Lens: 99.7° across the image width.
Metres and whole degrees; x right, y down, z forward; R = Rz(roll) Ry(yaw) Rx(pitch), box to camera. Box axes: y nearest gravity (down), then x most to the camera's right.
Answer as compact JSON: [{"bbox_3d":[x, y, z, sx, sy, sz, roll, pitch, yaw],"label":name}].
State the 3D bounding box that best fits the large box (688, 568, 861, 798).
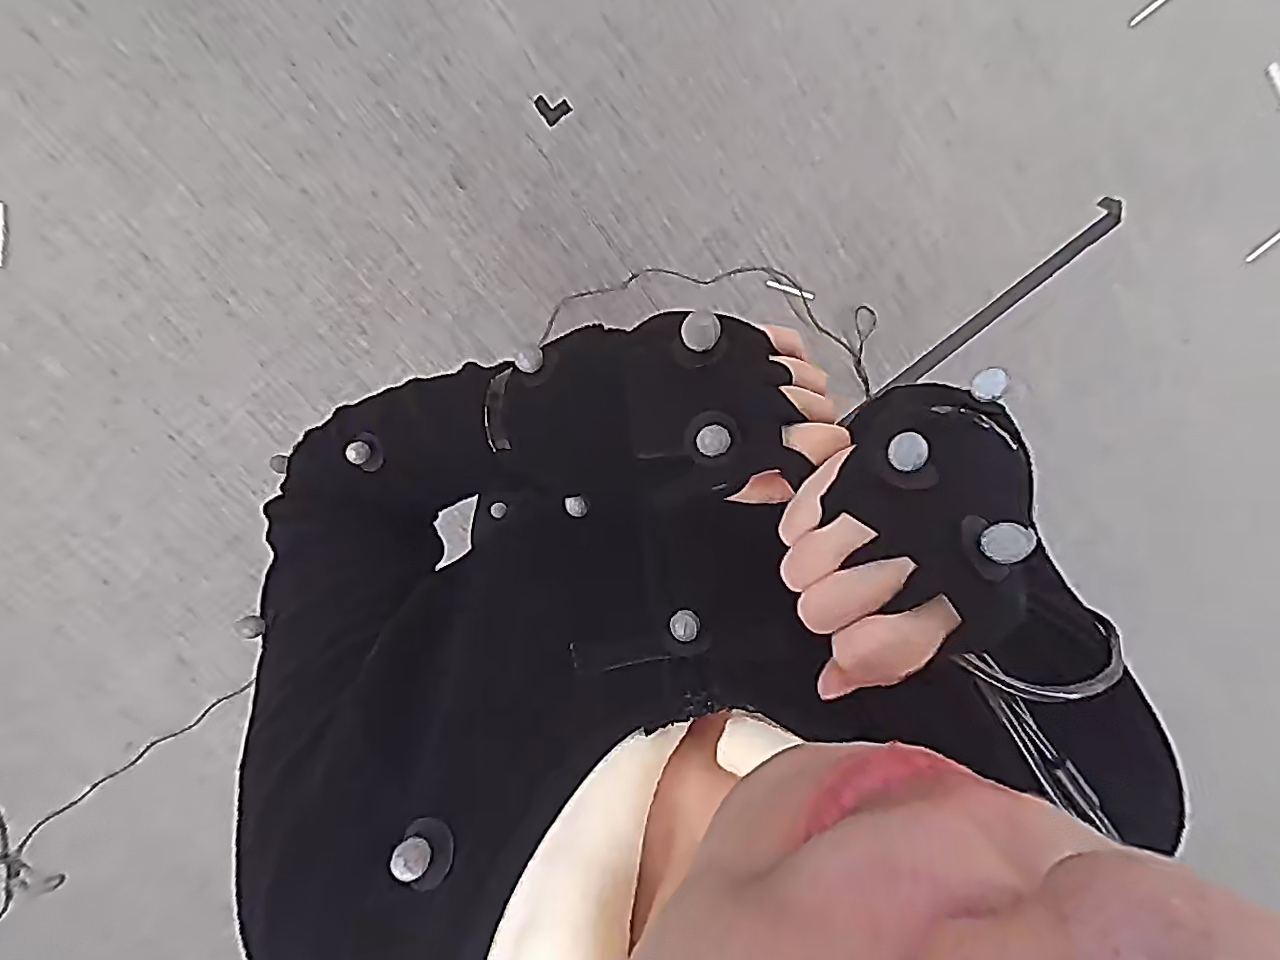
[{"bbox_3d":[0.304,0.463,1.305,0.320,0.320,0.408,-3,101,-7],"label":"large box"}]
